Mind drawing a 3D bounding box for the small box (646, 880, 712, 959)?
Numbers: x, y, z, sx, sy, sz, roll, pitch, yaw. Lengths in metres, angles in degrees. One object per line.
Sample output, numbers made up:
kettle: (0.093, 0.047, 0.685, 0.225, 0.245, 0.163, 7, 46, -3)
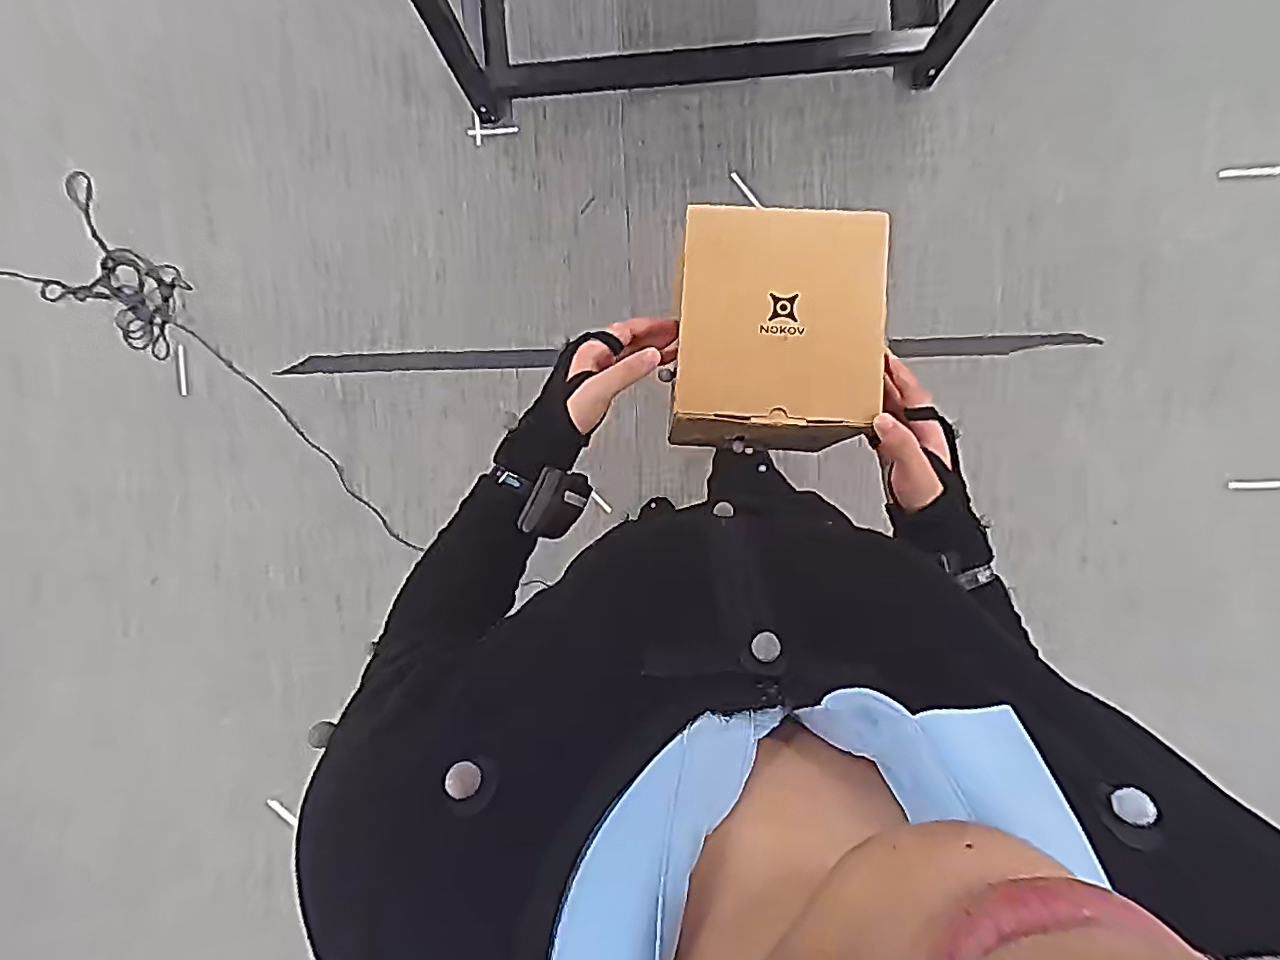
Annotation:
small box: (0.106, 1.230, 1.474, 0.168, 0.176, 0.179, -6, 94, 3)
